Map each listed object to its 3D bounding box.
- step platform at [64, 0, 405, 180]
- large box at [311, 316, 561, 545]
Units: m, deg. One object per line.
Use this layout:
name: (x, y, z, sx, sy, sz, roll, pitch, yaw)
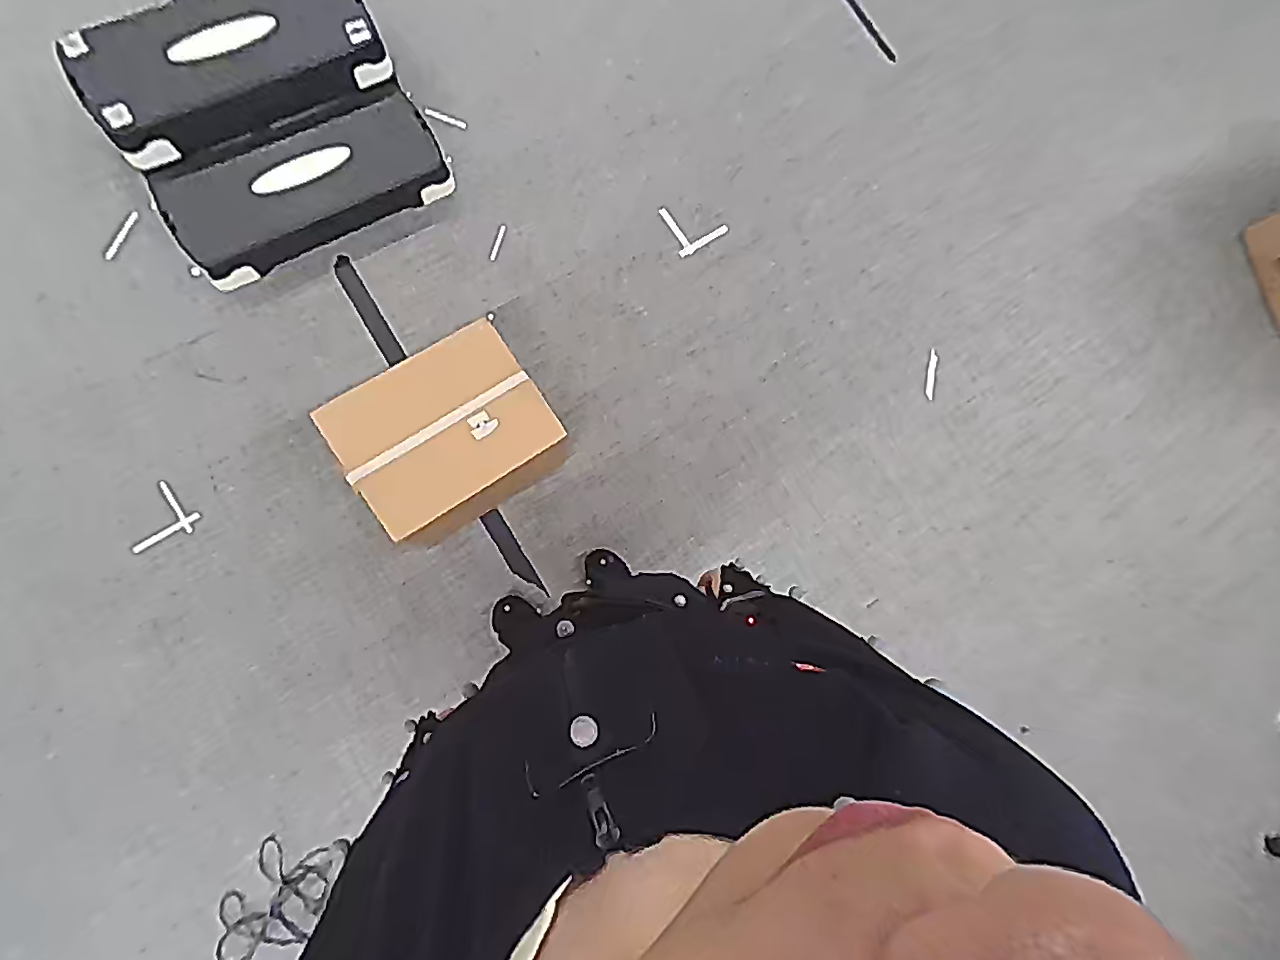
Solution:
step platform: (-0.976, -1.026, 1.348, 0.684, 0.204, 0.286, -27, 87, -12)
large box: (-0.430, -0.092, 1.243, 0.408, 0.320, 0.320, -34, 88, -12)
